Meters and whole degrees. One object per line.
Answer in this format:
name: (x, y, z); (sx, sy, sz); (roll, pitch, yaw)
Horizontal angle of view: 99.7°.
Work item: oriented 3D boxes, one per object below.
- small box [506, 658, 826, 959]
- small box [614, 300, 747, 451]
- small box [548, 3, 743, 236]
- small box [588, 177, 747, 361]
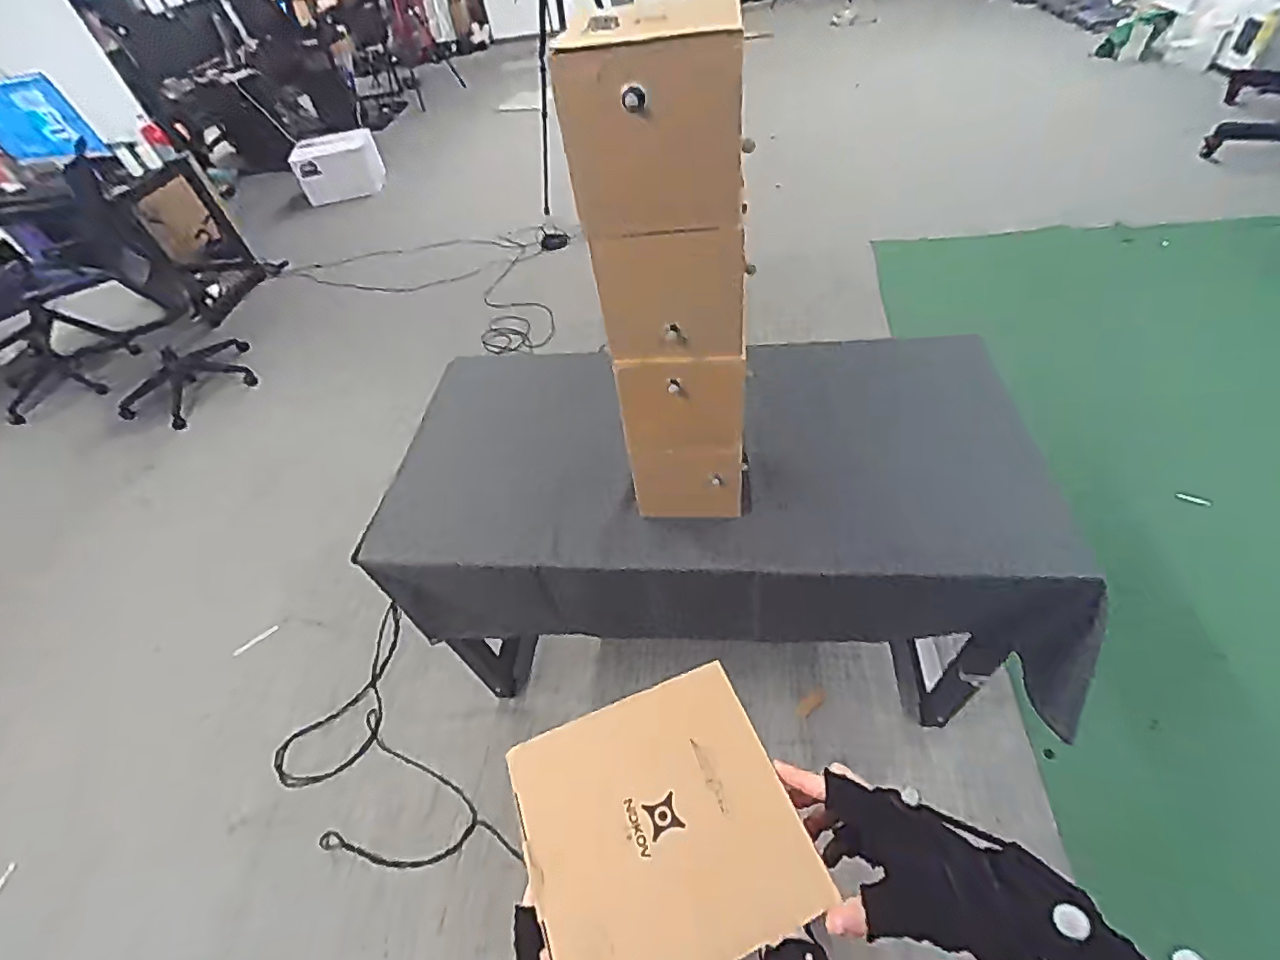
small box: (0.014, 0.276, 0.423); (0.179, 0.176, 0.168); (-18, 49, -11)
small box: (0.067, -0.156, 0.819); (0.179, 0.176, 0.168); (0, 48, 9)
small box: (0.020, -0.380, 0.583); (0.179, 0.176, 0.168); (0, 49, 9)
small box: (0.046, -0.269, 0.702); (0.179, 0.176, 0.168); (1, 49, 10)
